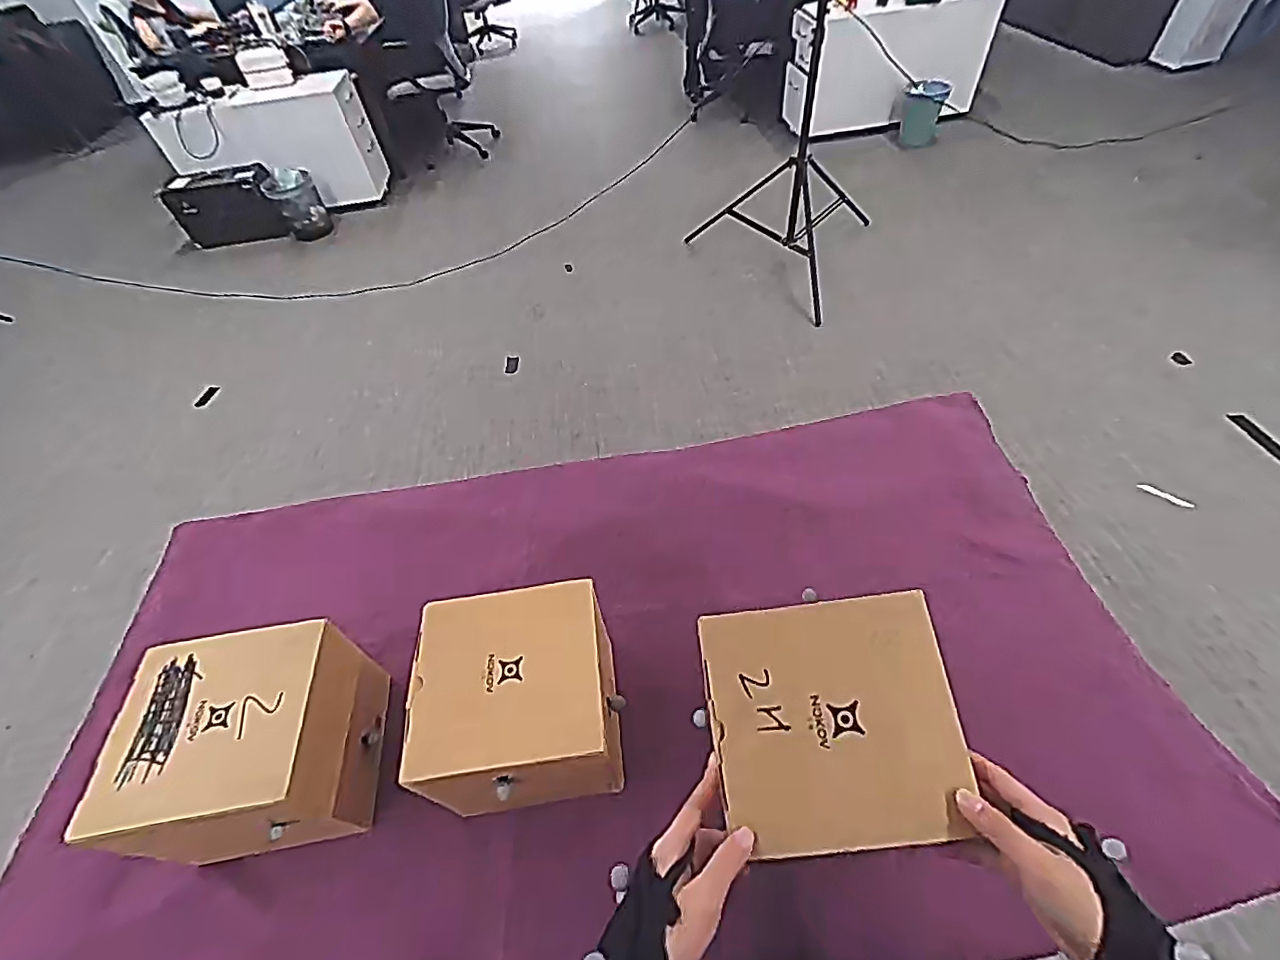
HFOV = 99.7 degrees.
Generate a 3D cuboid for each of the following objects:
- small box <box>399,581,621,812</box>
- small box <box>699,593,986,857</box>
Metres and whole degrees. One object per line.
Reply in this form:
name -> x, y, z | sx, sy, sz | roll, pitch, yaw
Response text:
small box -> -0.116, 0.227, 0.558 | 0.179, 0.176, 0.168 | -10, 50, 0
small box -> 0.147, 0.197, 0.467 | 0.179, 0.176, 0.168 | -8, 70, 4
